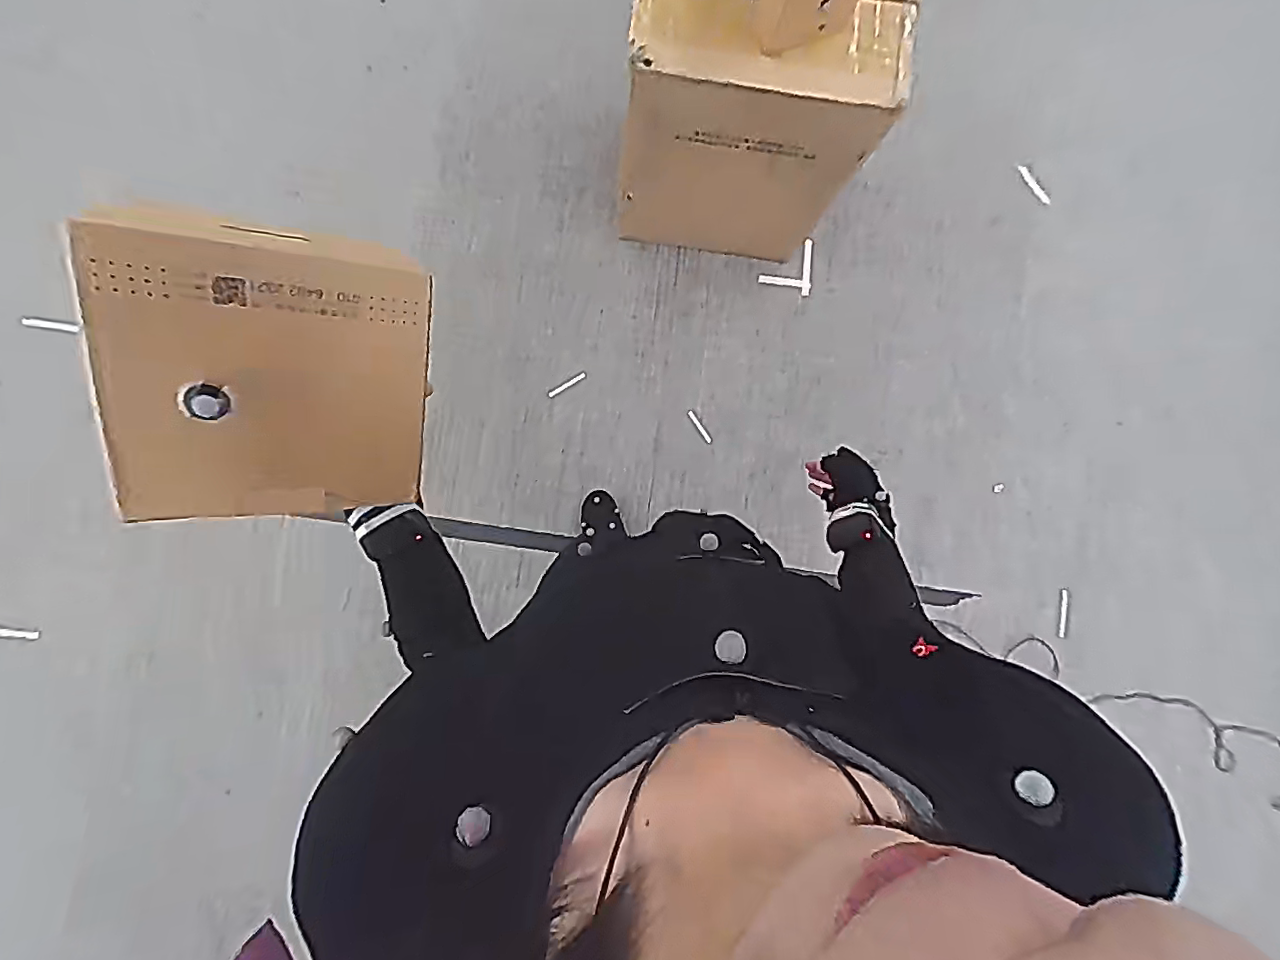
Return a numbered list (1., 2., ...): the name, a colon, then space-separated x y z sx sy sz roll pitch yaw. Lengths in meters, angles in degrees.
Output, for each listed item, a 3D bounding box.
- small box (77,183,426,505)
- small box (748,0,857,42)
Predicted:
1. small box: -0.256 -0.100 0.386 0.168 0.179 0.176 -1 118 -33
2. small box: 0.279 -0.882 0.899 0.168 0.176 0.179 -23 90 -5
